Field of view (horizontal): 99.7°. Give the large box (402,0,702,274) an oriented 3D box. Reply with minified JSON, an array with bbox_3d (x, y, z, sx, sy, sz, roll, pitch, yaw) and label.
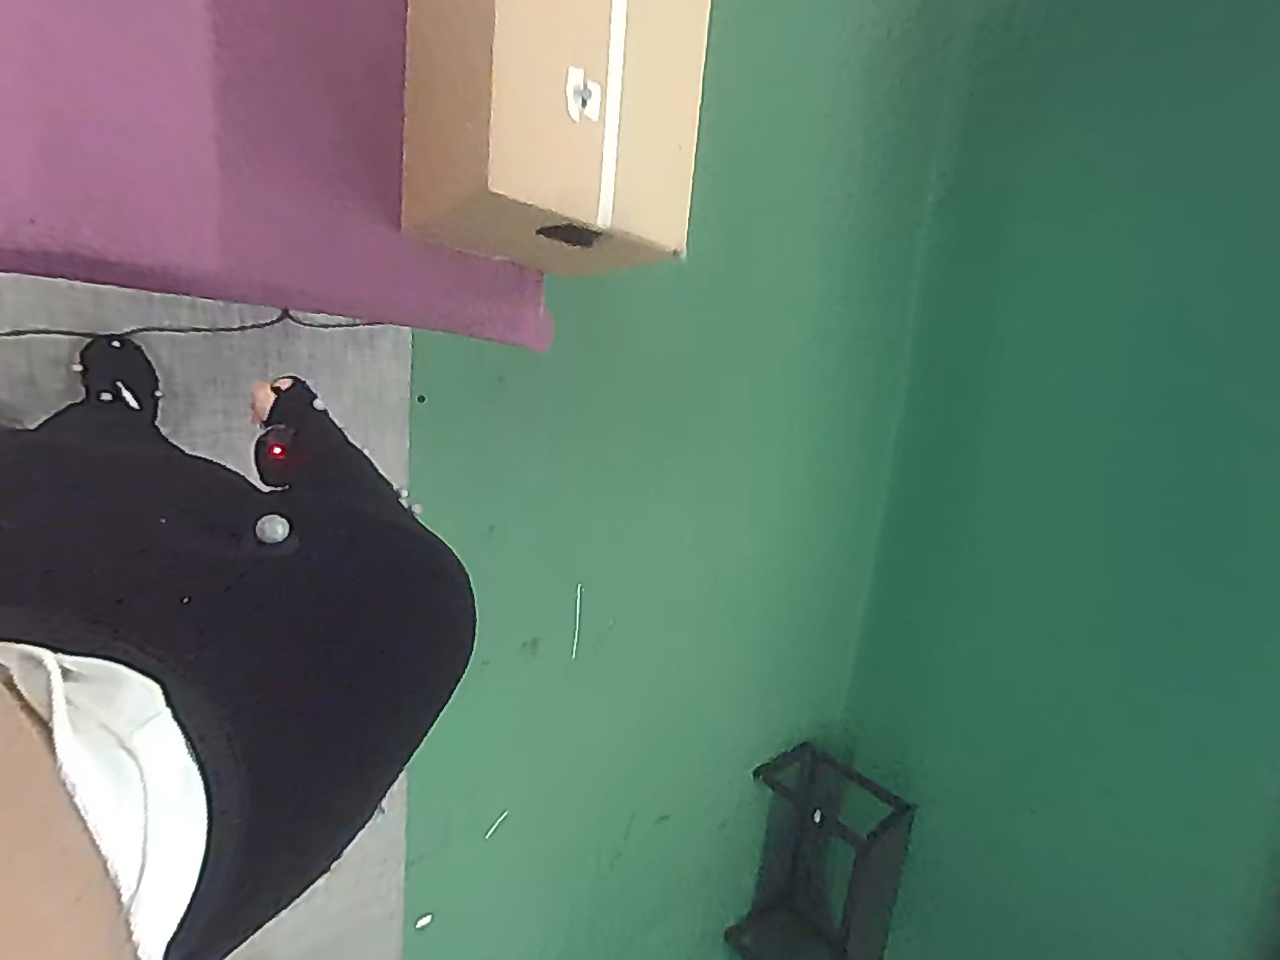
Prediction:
[{"bbox_3d":[-0.138,-0.546,0.780,0.320,0.320,0.408,-3,103,-40],"label":"large box"}]
